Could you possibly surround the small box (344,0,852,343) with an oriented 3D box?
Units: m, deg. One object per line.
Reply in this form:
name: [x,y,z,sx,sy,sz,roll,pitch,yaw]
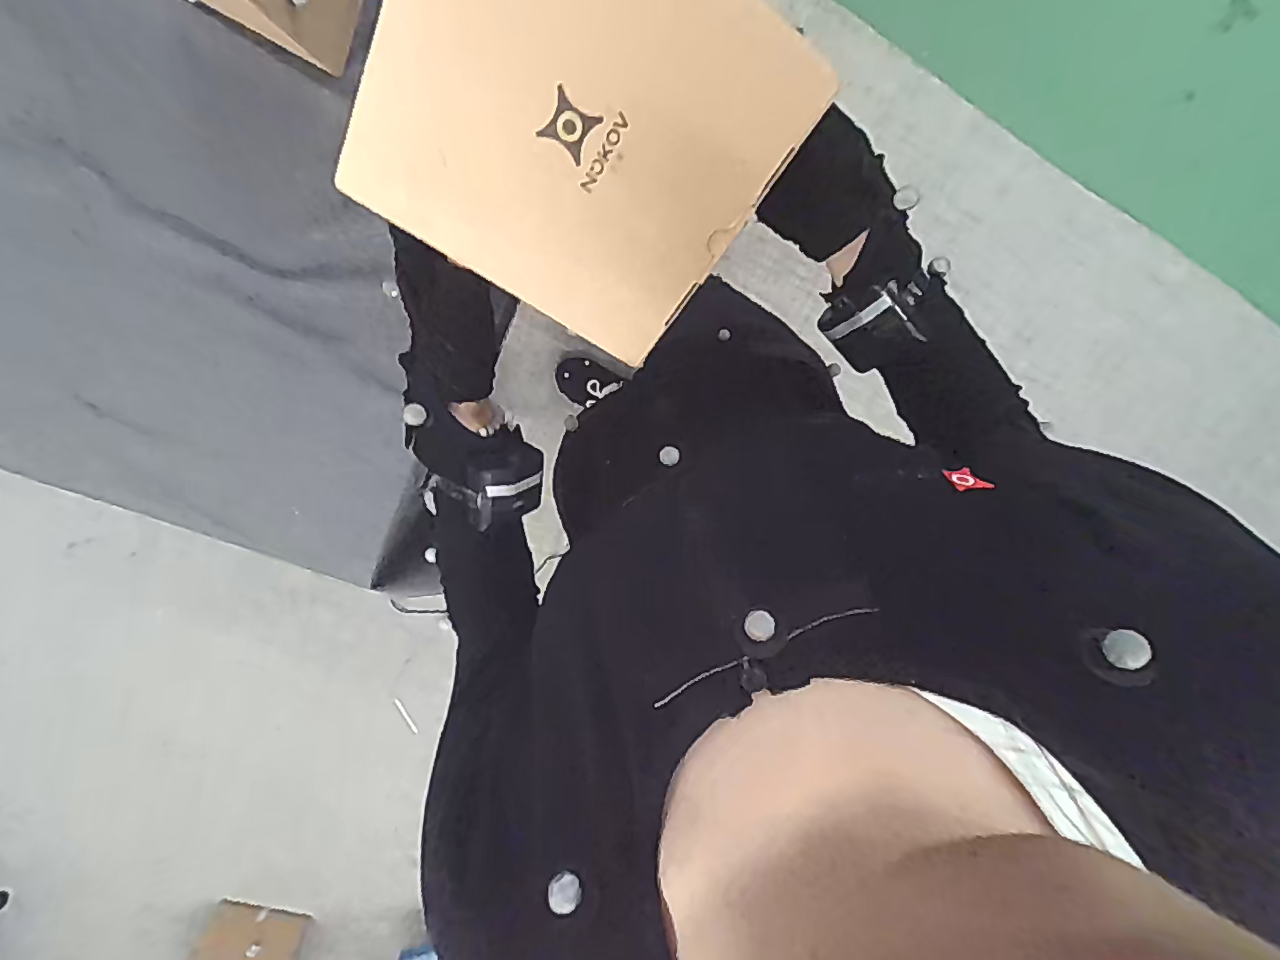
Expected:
small box: [-0.025,-0.216,0.306,0.179,0.176,0.168,27,123,-21]
